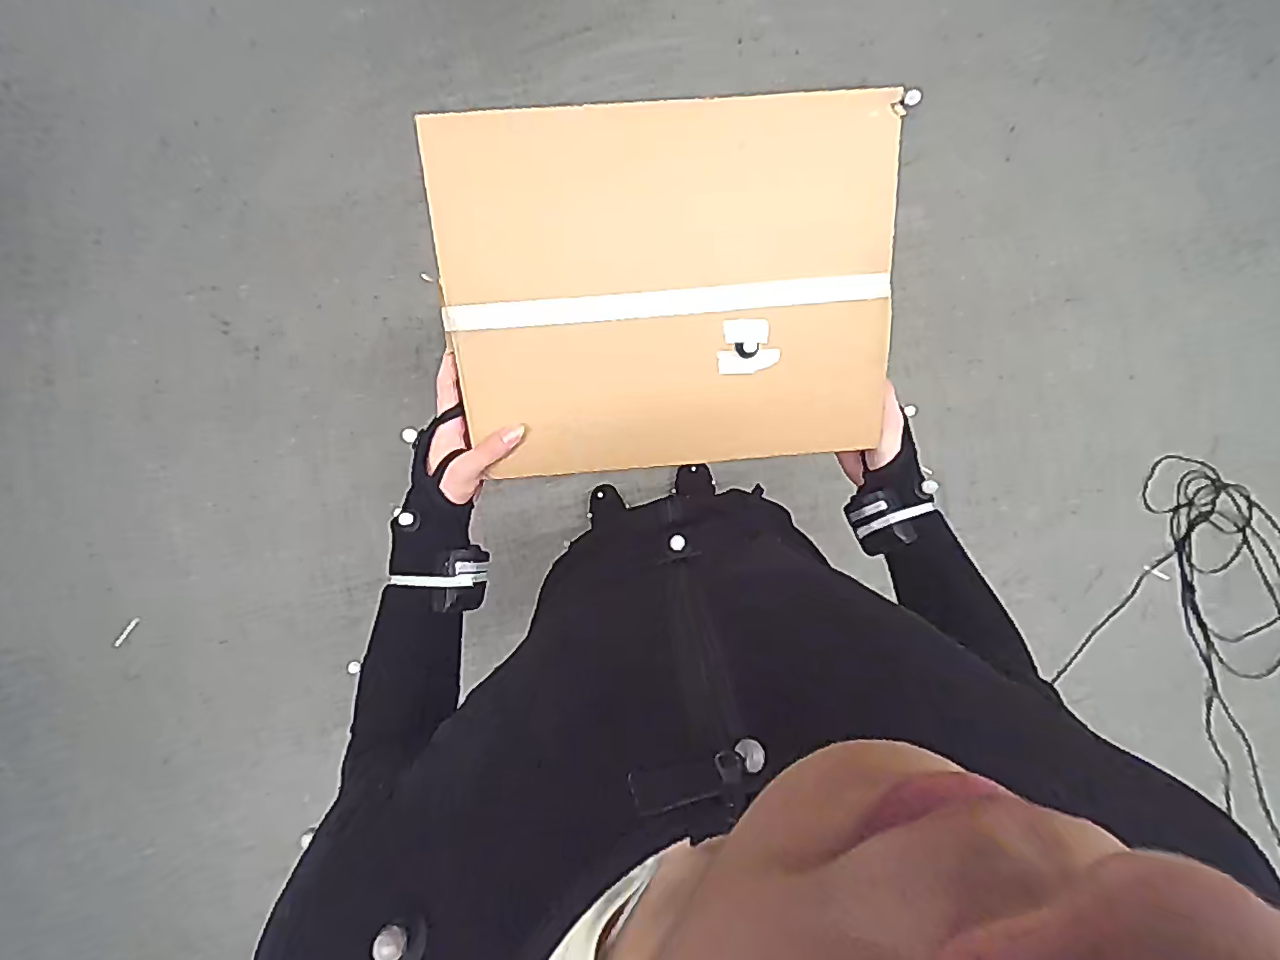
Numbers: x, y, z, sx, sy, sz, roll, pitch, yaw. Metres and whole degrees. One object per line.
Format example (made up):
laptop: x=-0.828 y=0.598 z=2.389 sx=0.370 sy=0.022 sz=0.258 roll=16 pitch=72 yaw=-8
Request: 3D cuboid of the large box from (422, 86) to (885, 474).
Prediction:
large box: x=0.015 y=-0.215 z=0.641 sx=0.408 sy=0.320 sz=0.320 roll=-6 pitch=108 yaw=-3
